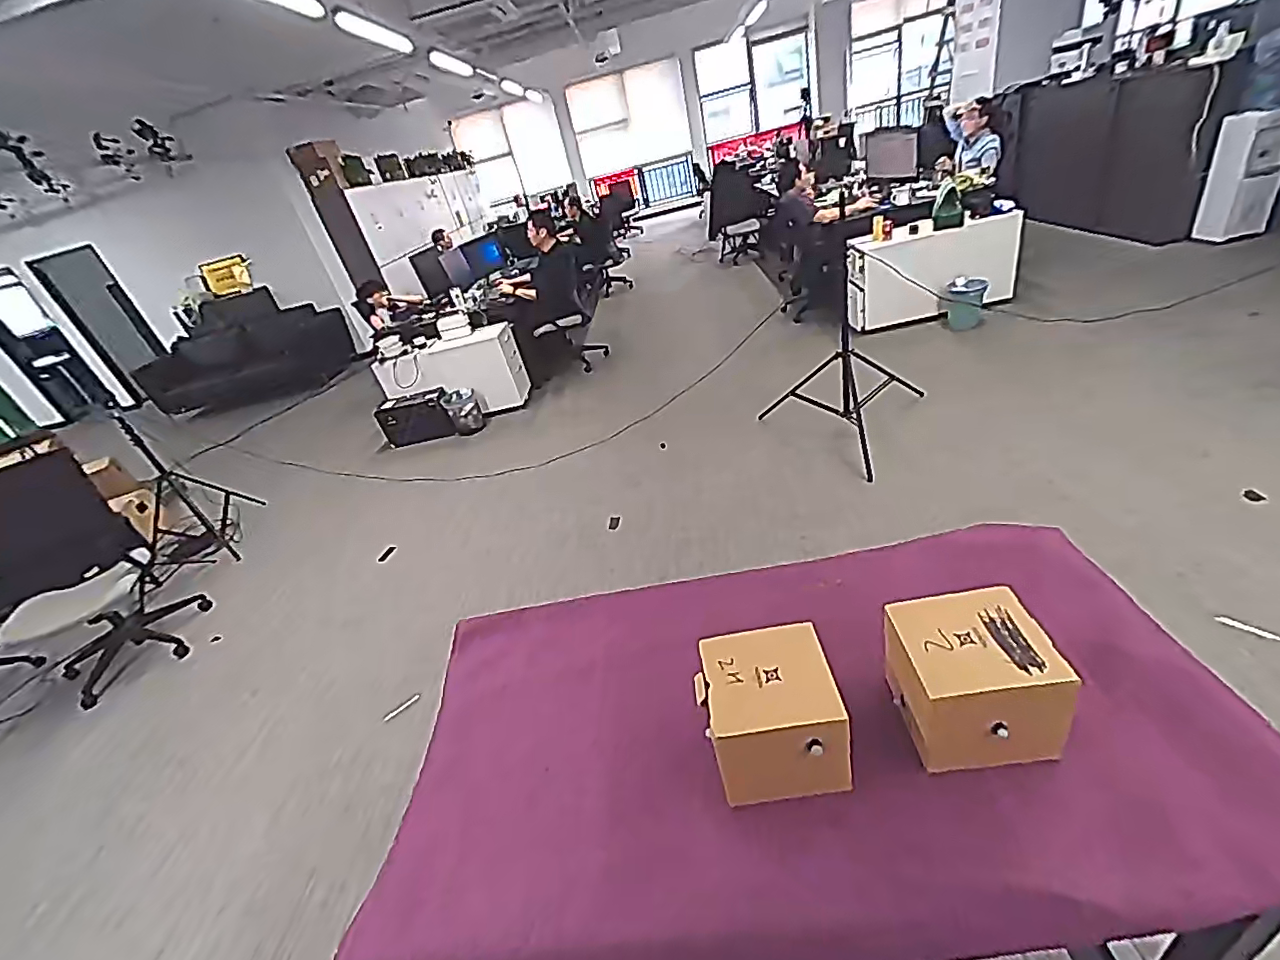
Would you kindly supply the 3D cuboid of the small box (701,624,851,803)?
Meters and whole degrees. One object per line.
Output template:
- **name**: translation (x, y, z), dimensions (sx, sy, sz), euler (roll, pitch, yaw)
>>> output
- **small box**: translation (0.196, 0.342, 0.793), dimensions (0.179, 0.176, 0.168), euler (-12, 30, 6)
